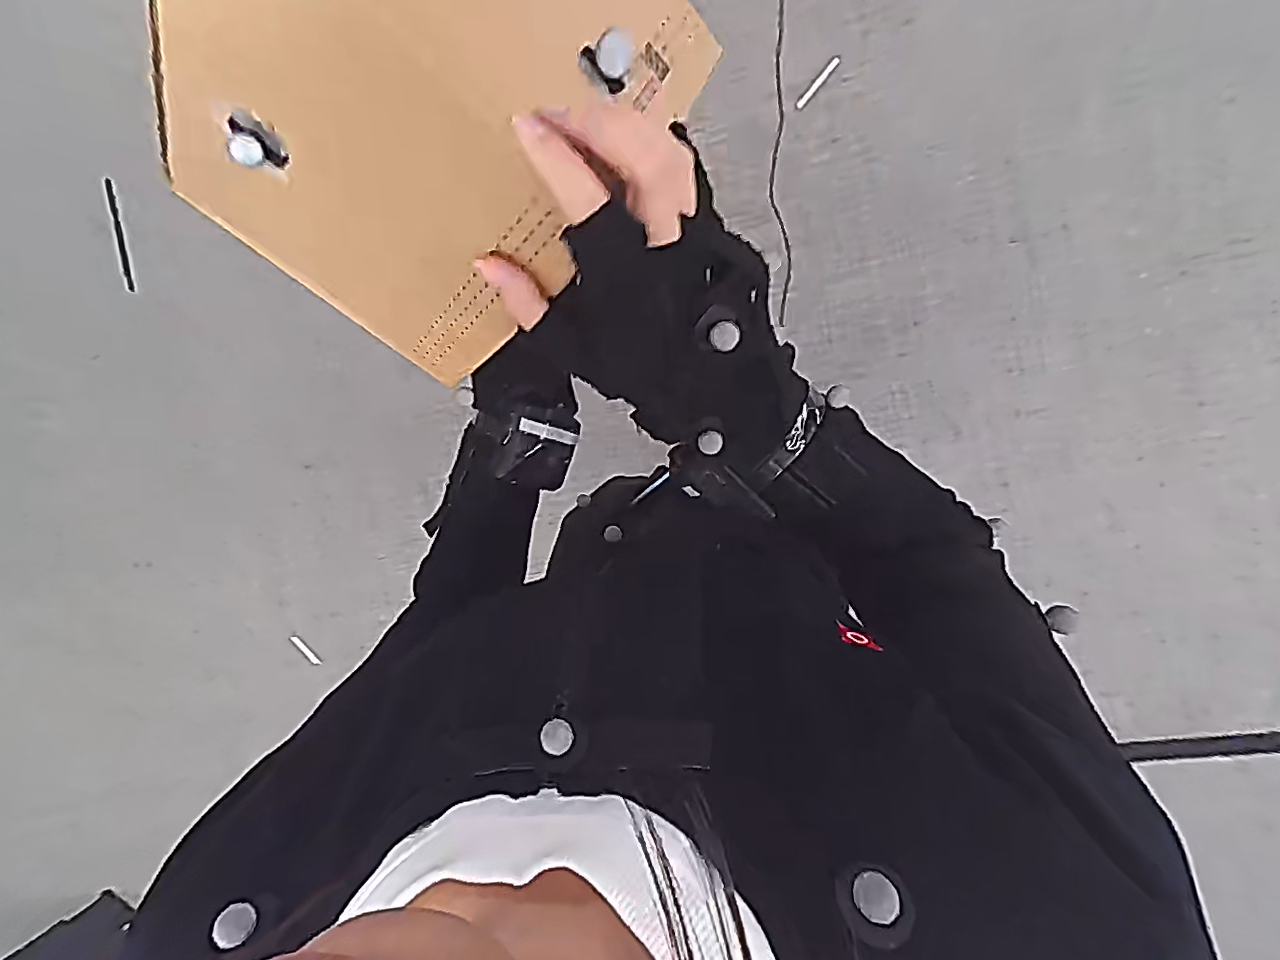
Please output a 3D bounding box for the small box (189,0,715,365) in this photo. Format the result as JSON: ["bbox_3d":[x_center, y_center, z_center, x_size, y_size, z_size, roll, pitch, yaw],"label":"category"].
[{"bbox_3d":[-0.092,-0.191,0.292,0.176,0.179,0.168,36,61,-26],"label":"small box"}]
